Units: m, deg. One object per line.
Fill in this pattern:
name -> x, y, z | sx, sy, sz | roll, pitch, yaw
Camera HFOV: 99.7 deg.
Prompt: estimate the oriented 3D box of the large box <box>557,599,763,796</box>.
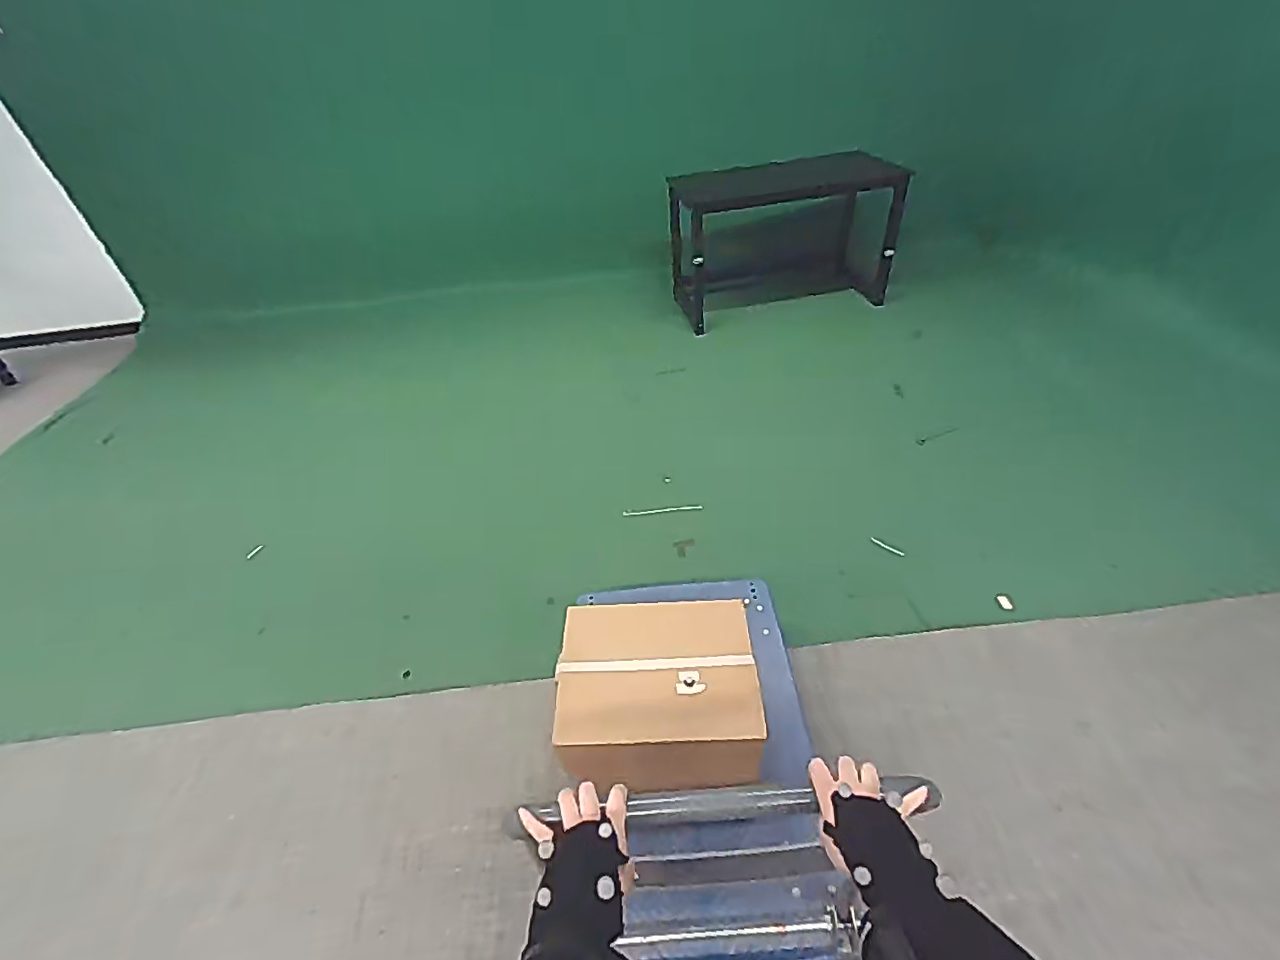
large box -> 0.042, 0.497, 1.238 | 0.408, 0.320, 0.320 | -2, 41, 2
